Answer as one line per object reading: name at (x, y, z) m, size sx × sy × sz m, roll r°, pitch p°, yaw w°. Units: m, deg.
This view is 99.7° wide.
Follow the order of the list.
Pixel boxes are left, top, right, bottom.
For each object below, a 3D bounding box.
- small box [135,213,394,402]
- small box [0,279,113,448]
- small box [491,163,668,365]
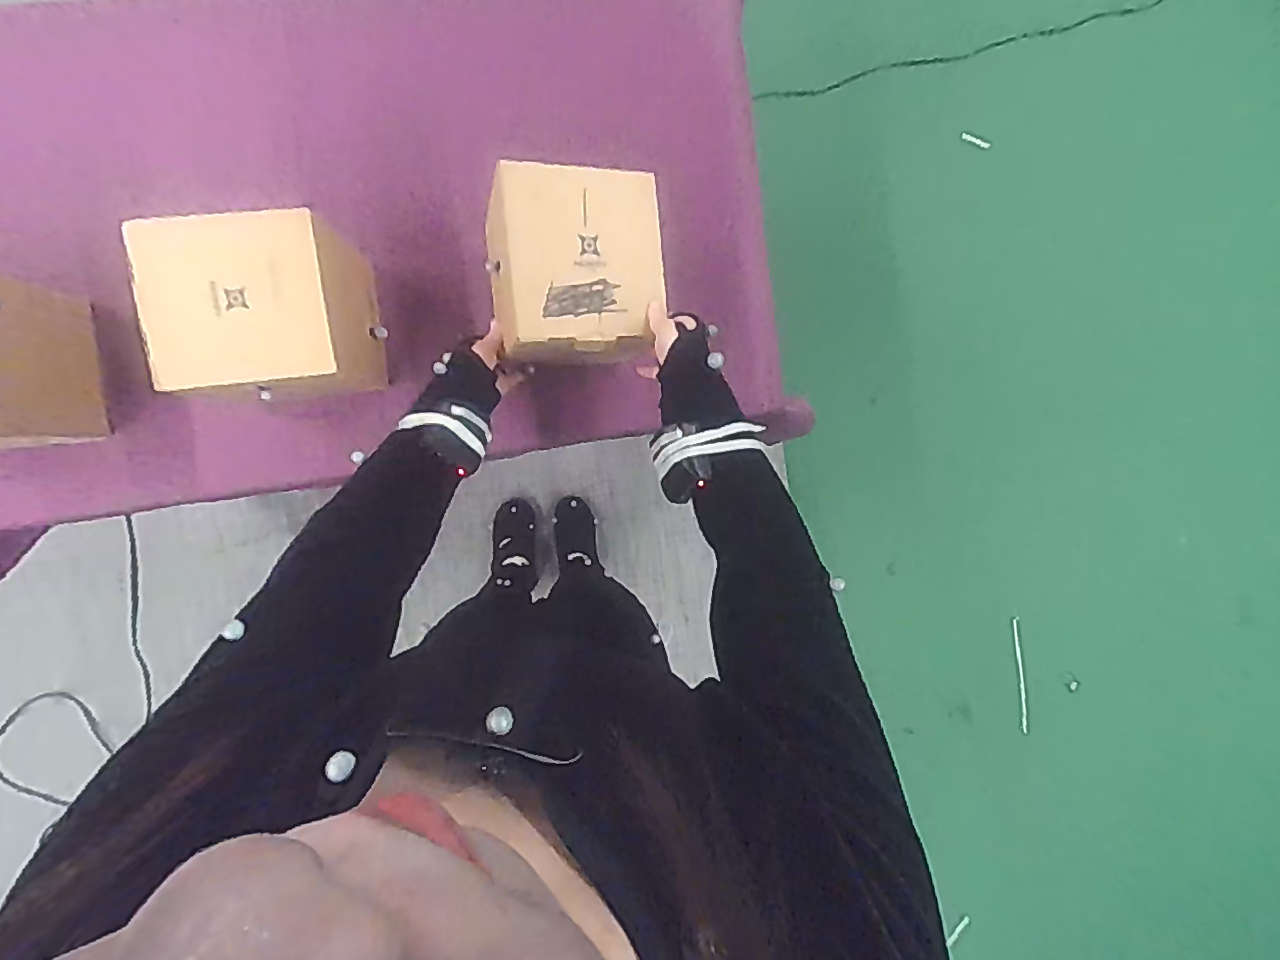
small box at (-0.409, -0.184, 0.621) m, size 0.179 × 0.176 × 0.168 m, roll -7°, pitch 95°, yaw -6°
small box at (-0.736, -0.124, 0.591) m, size 0.168 × 0.176 × 0.179 m, roll -5°, pitch 93°, yaw -6°
small box at (-0.078, -0.233, 0.632) m, size 0.168 × 0.176 × 0.179 m, roll -6°, pitch 93°, yaw -19°
